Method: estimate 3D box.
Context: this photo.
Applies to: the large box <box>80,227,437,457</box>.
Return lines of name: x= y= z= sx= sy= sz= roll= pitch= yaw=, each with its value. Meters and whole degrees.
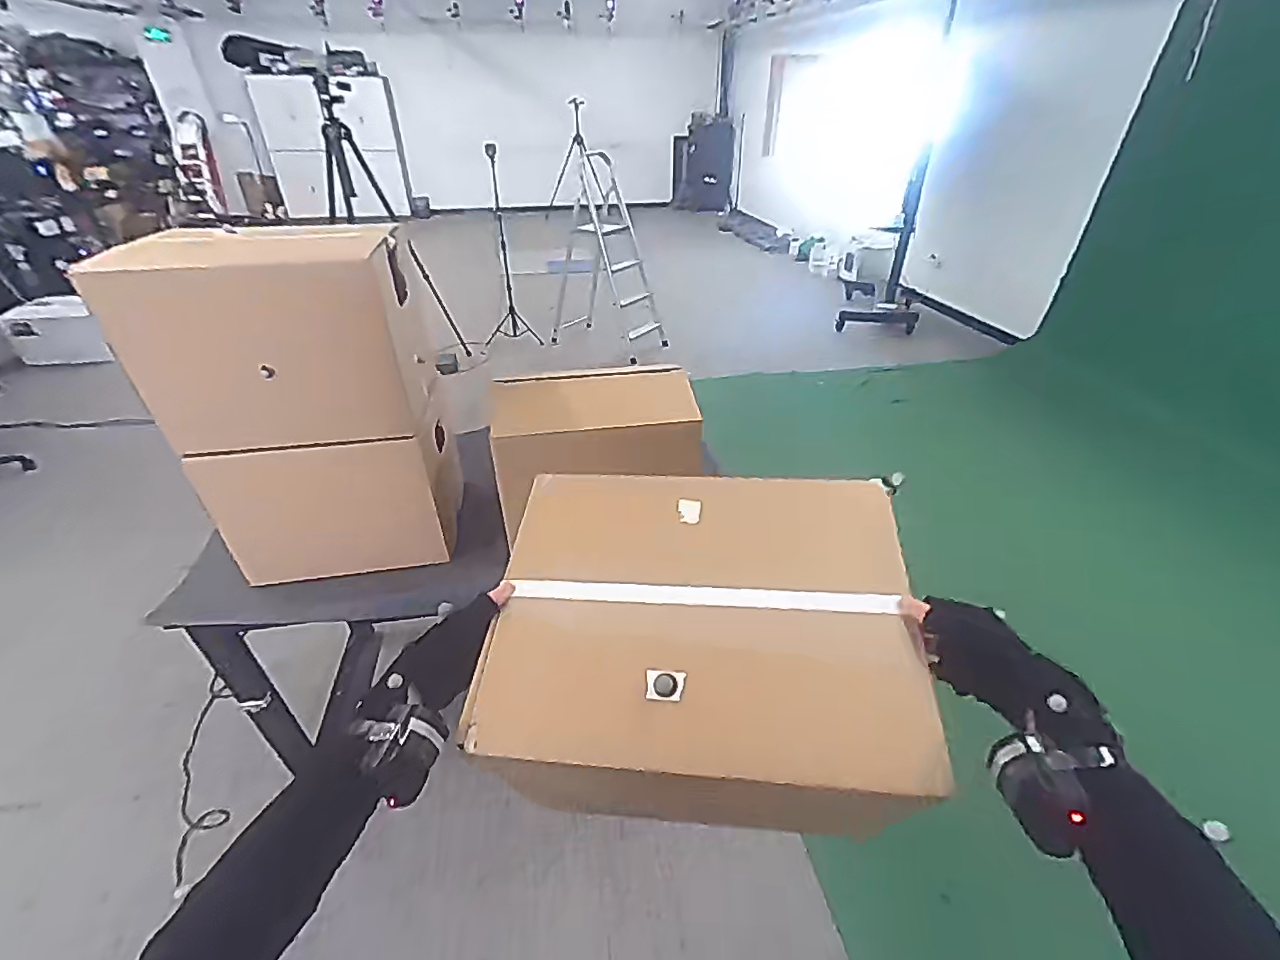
large box: x=-0.624 y=-0.266 z=0.997 sx=0.408 sy=0.320 sz=0.320 roll=-6 pitch=35 yaw=-9
